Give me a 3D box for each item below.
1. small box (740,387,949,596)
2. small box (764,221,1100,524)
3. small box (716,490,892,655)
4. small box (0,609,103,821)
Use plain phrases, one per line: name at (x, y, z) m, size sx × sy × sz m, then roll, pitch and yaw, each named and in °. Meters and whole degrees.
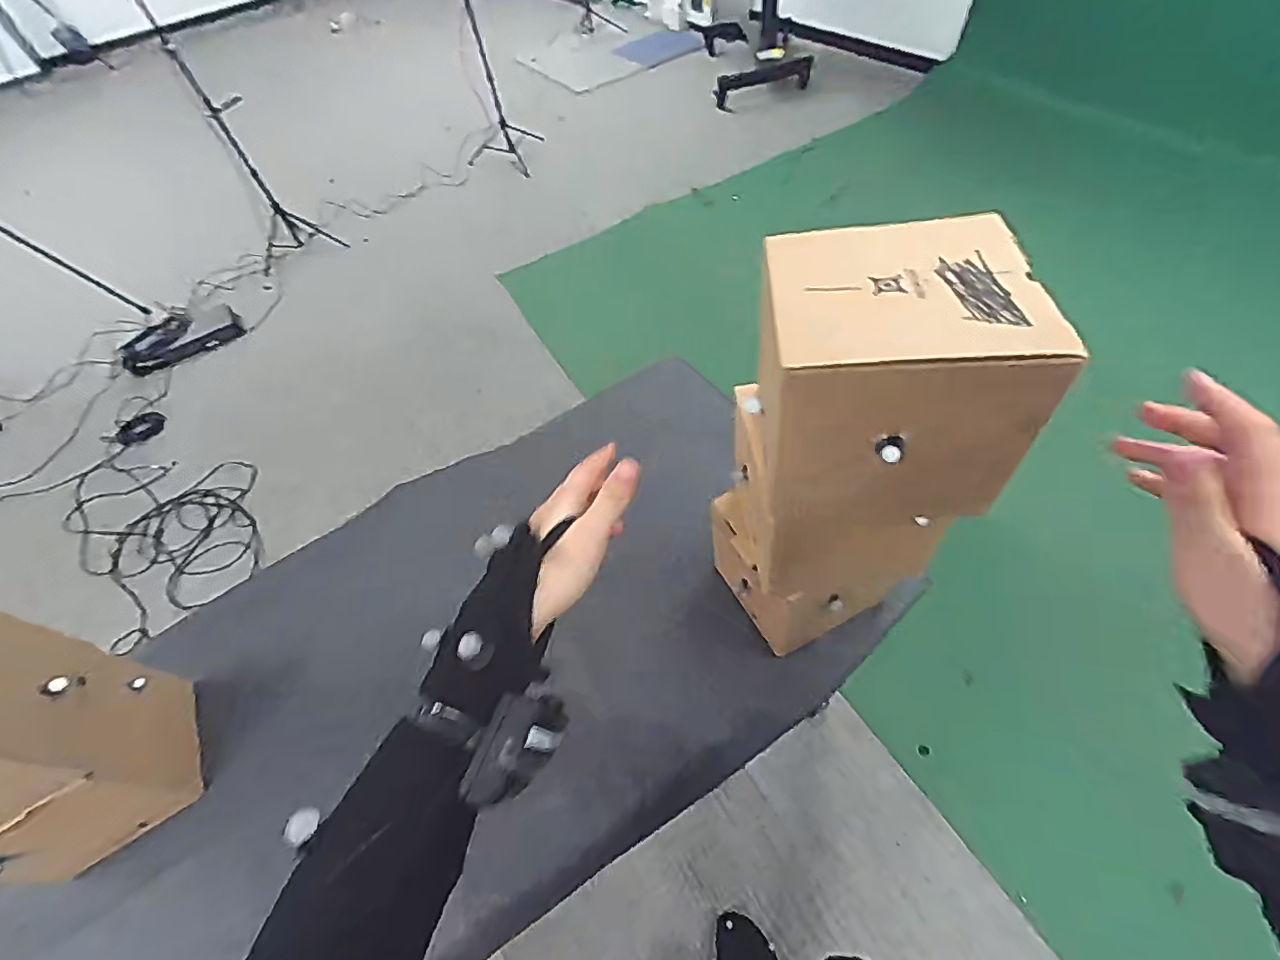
small box at (0.207, 0.008, 0.571) m, size 0.179 × 0.176 × 0.168 m, roll -9°, pitch 51°, yaw 3°
small box at (0.194, -0.076, 0.428) m, size 0.179 × 0.176 × 0.168 m, roll -1°, pitch 52°, yaw 10°
small box at (0.218, 0.099, 0.707) m, size 0.179 × 0.176 × 0.168 m, roll -26°, pitch 52°, yaw -9°
small box at (-0.697, 0.249, 0.530) m, size 0.179 × 0.176 × 0.168 m, roll -30°, pitch 57°, yaw -14°
